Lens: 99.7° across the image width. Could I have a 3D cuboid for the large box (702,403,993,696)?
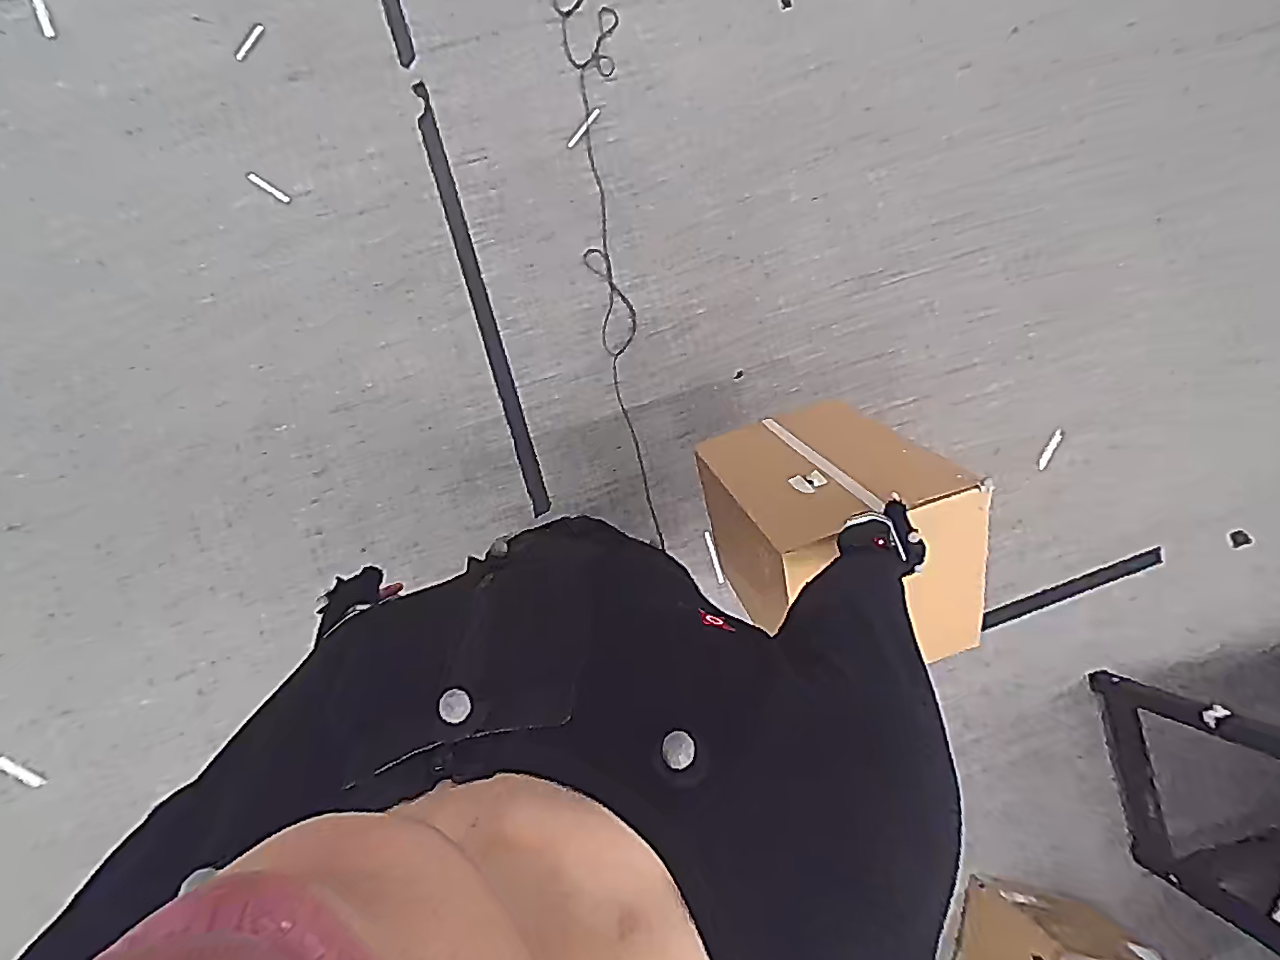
[{"bbox_3d":[0.342,0.098,0.988,0.320,0.408,0.320,-19,119,-5],"label":"large box"}]
